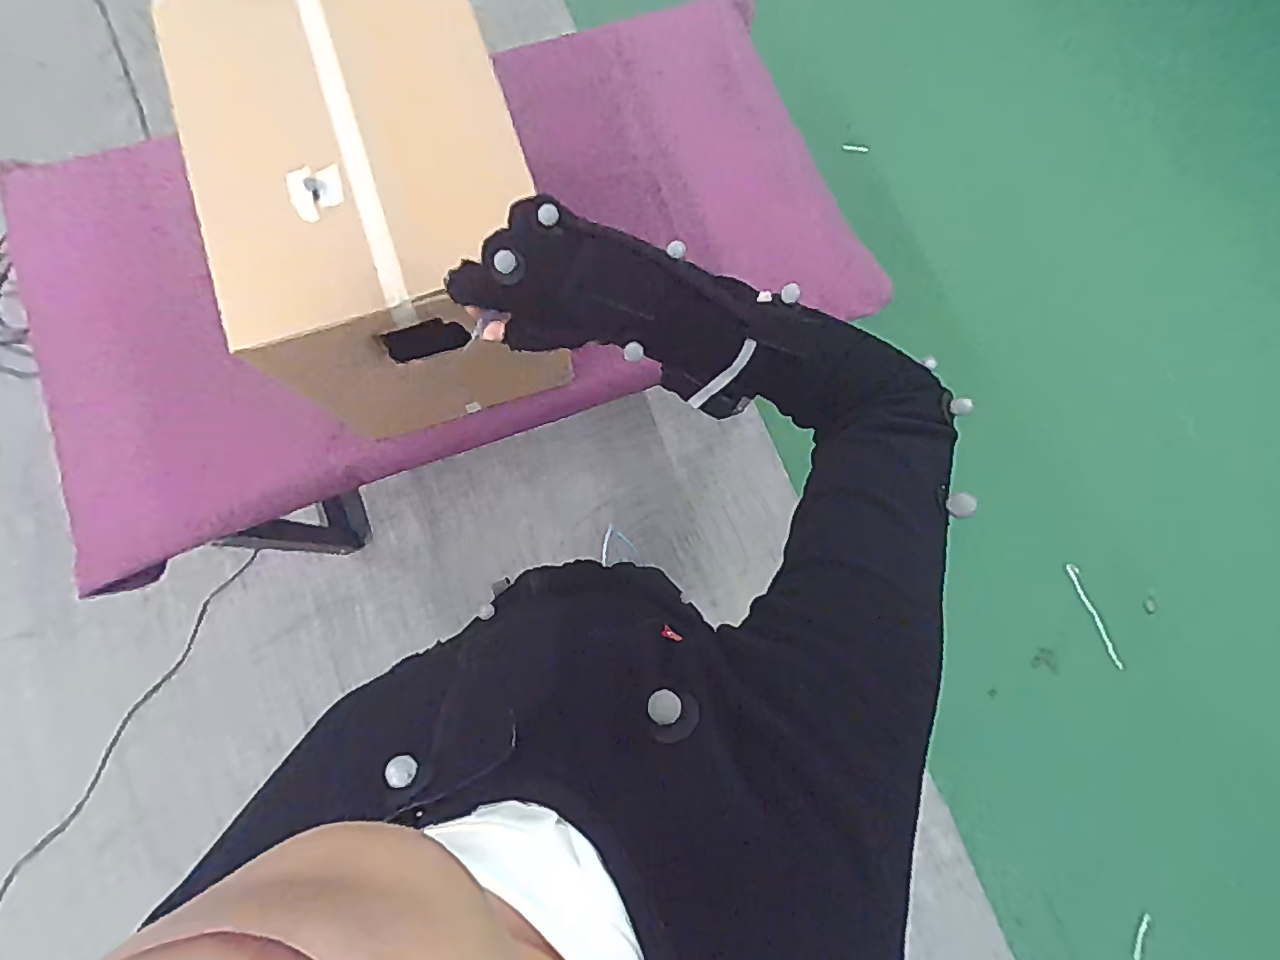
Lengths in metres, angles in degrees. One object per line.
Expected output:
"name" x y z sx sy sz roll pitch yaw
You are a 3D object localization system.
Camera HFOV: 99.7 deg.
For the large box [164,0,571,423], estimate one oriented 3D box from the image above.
"large box" -0.295 -0.335 0.694 0.320 0.320 0.408 -18 83 -7
